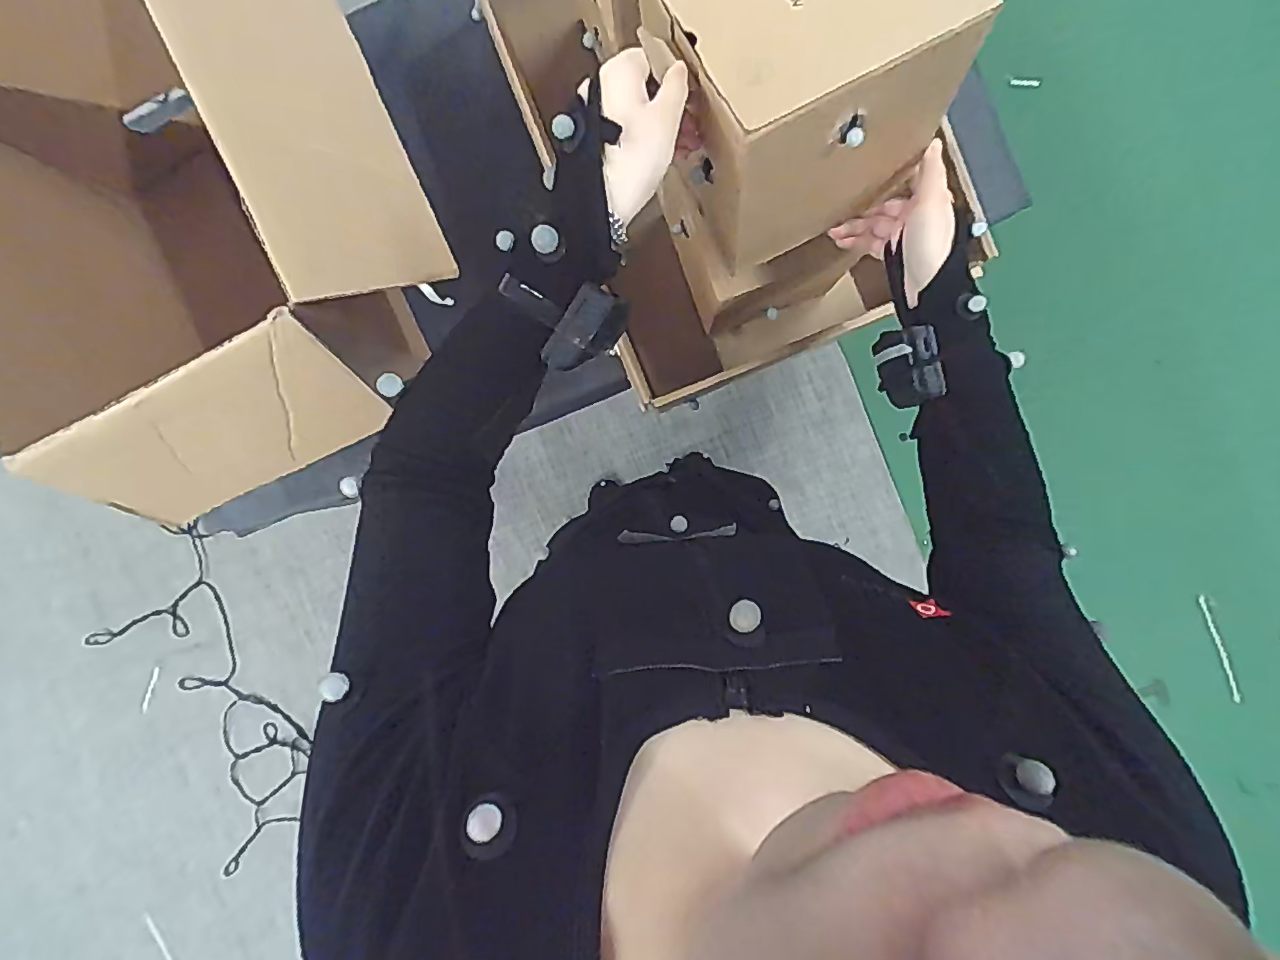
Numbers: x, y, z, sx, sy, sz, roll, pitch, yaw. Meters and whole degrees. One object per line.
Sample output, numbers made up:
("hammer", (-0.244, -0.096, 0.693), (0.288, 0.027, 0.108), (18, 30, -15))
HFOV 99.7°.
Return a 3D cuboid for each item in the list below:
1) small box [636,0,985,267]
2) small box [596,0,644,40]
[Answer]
("small box", (0.114, -0.307, 0.431), (0.179, 0.176, 0.168), (-26, 80, 1))
("small box", (0.023, -0.526, 0.450), (0.179, 0.176, 0.168), (-20, 94, 3))
